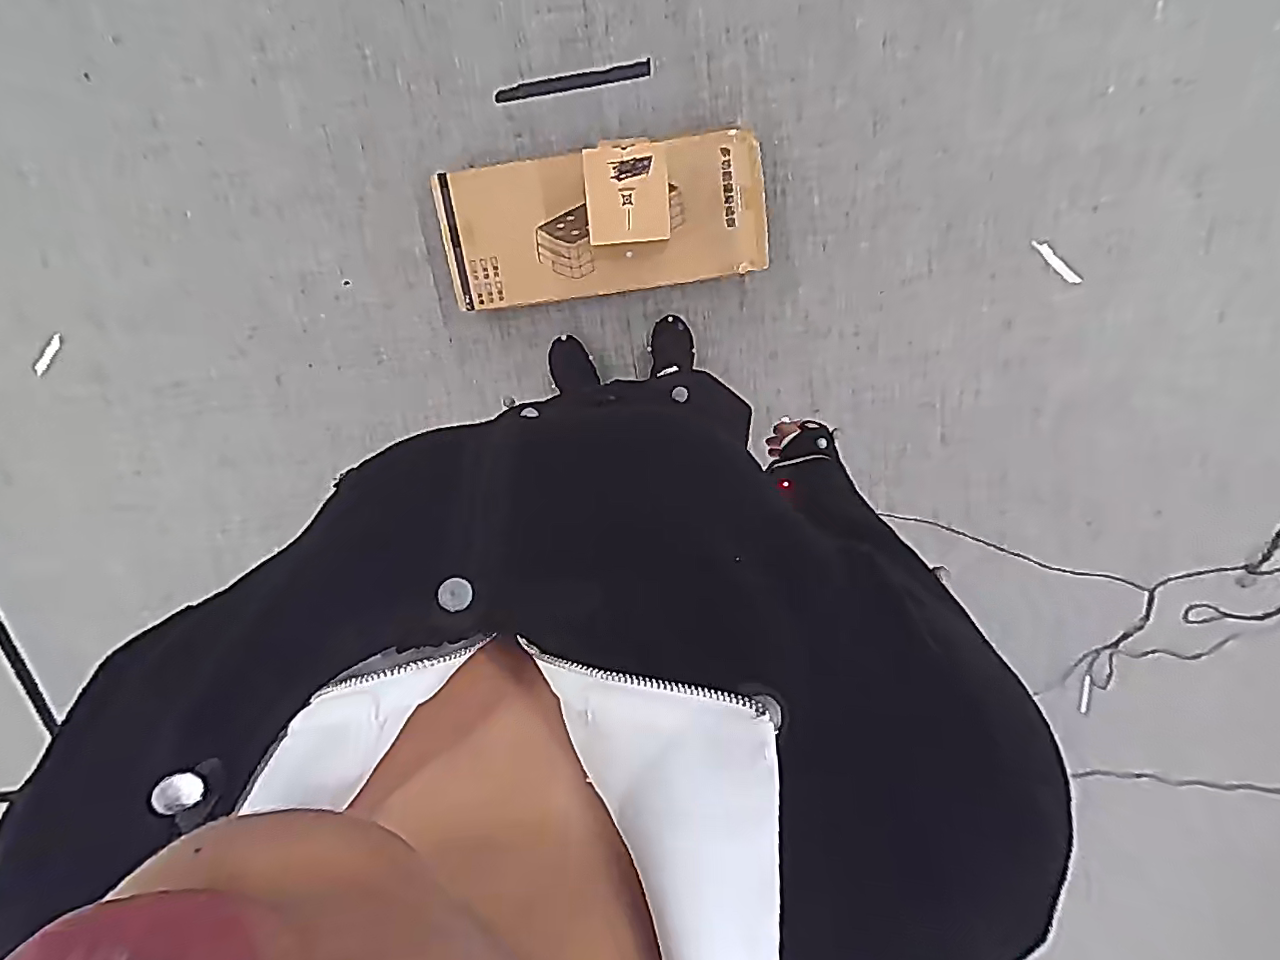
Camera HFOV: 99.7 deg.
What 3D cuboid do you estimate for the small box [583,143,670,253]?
[{"bbox_3d":[-0.026,-0.589,1.148,0.168,0.176,0.179,-4,107,2],"label":"small box"}]
